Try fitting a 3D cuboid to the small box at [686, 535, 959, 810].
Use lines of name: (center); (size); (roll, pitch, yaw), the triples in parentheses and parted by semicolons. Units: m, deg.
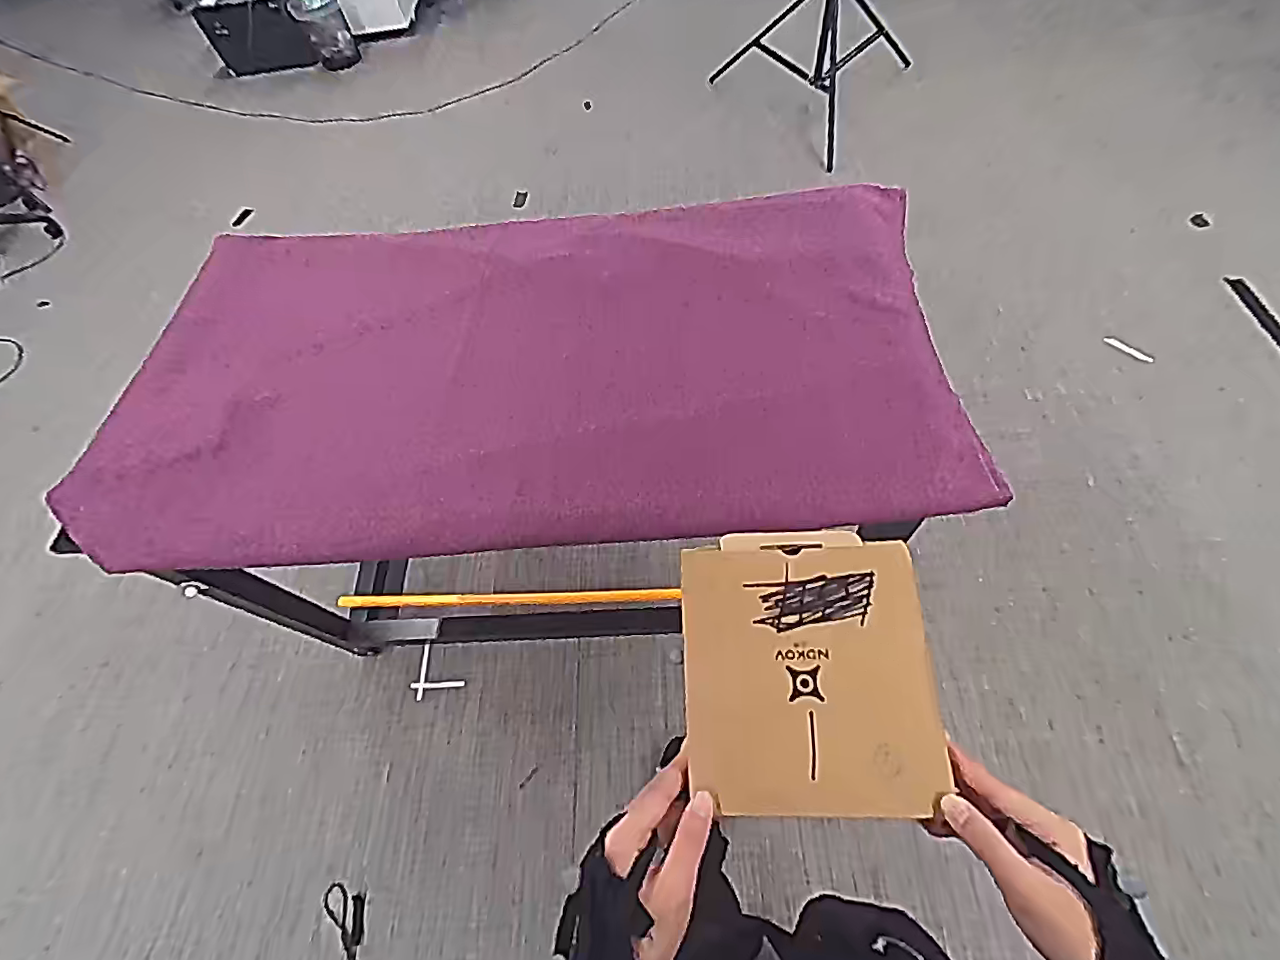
small box: (0.123, 0.153, 0.441); (0.168, 0.176, 0.179); (-3, 68, 7)
